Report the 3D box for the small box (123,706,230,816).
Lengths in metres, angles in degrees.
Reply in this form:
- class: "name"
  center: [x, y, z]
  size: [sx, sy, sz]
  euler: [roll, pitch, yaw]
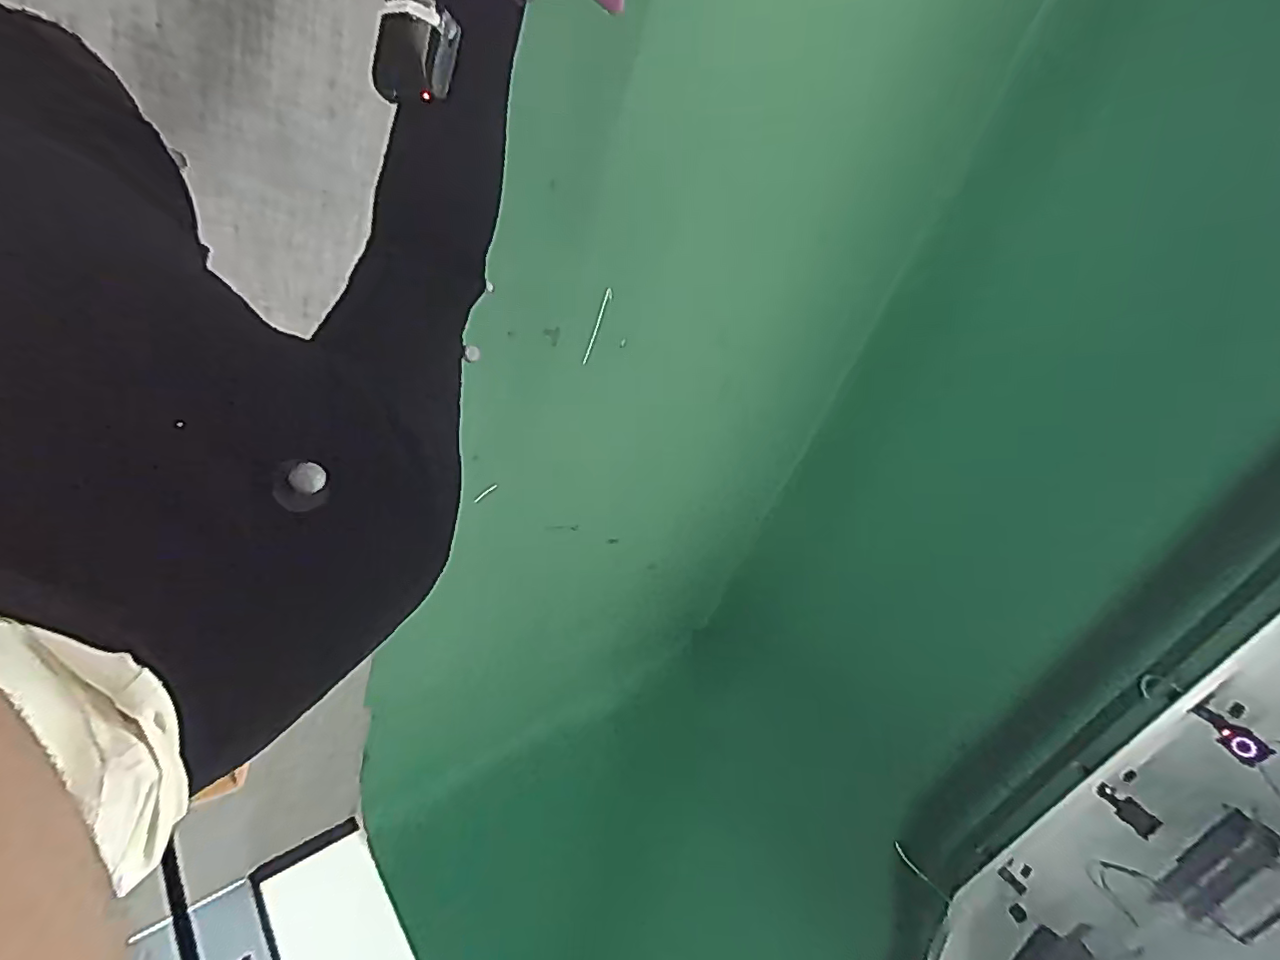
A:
- class: "small box"
  center: [-1.236, 0.736, 1.441]
  size: [0.179, 0.176, 0.168]
  euler: [4, 119, -52]
